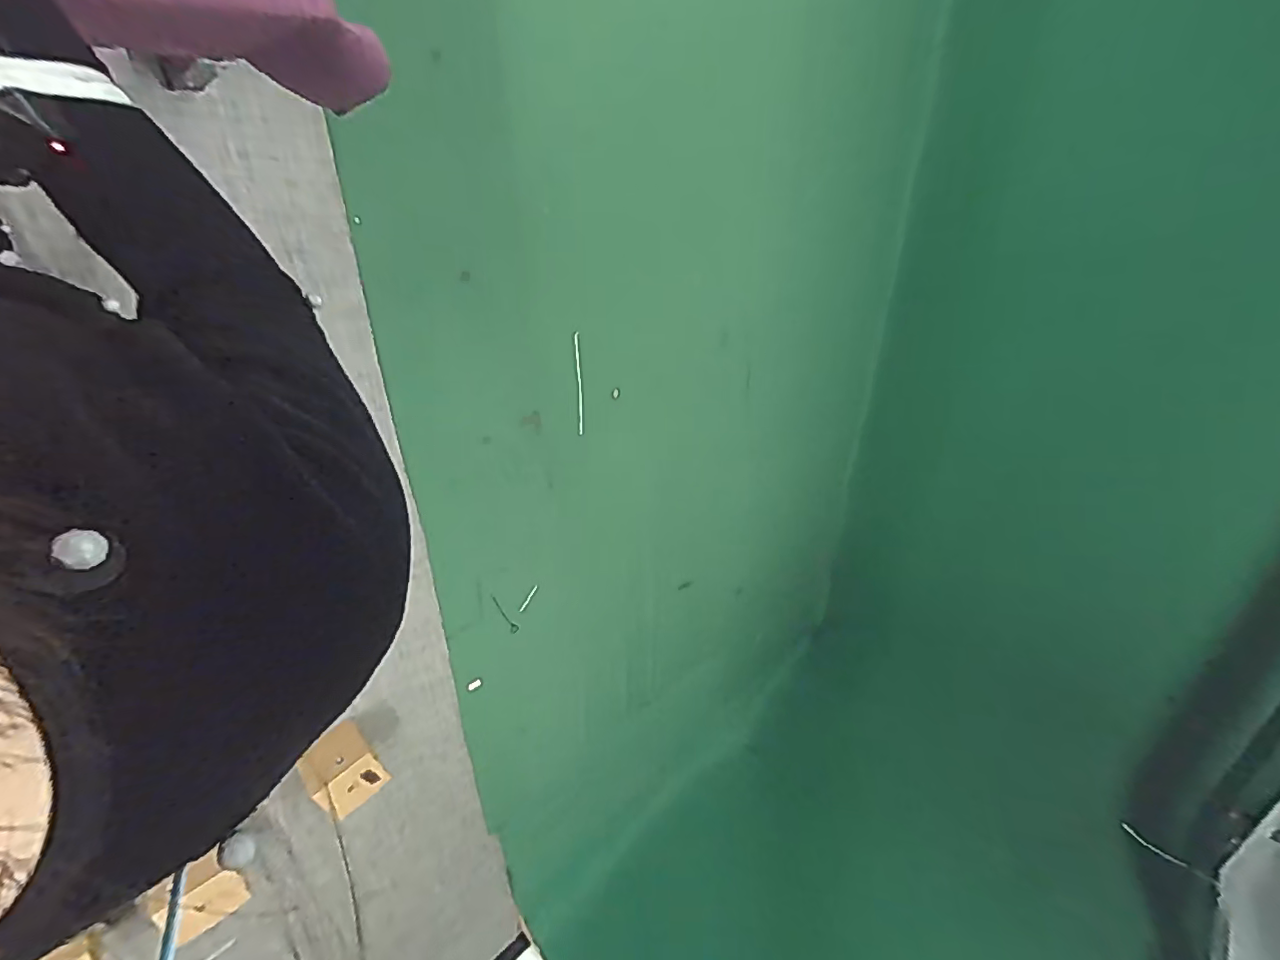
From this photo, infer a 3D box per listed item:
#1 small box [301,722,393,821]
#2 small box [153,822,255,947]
[{"bbox_3d":[-0.909,0.895,1.676,0.179,0.176,0.168,-35,132,-30],"label":"small box"},{"bbox_3d":[-1.189,1.092,1.472,0.179,0.176,0.168,-24,126,-38],"label":"small box"}]
